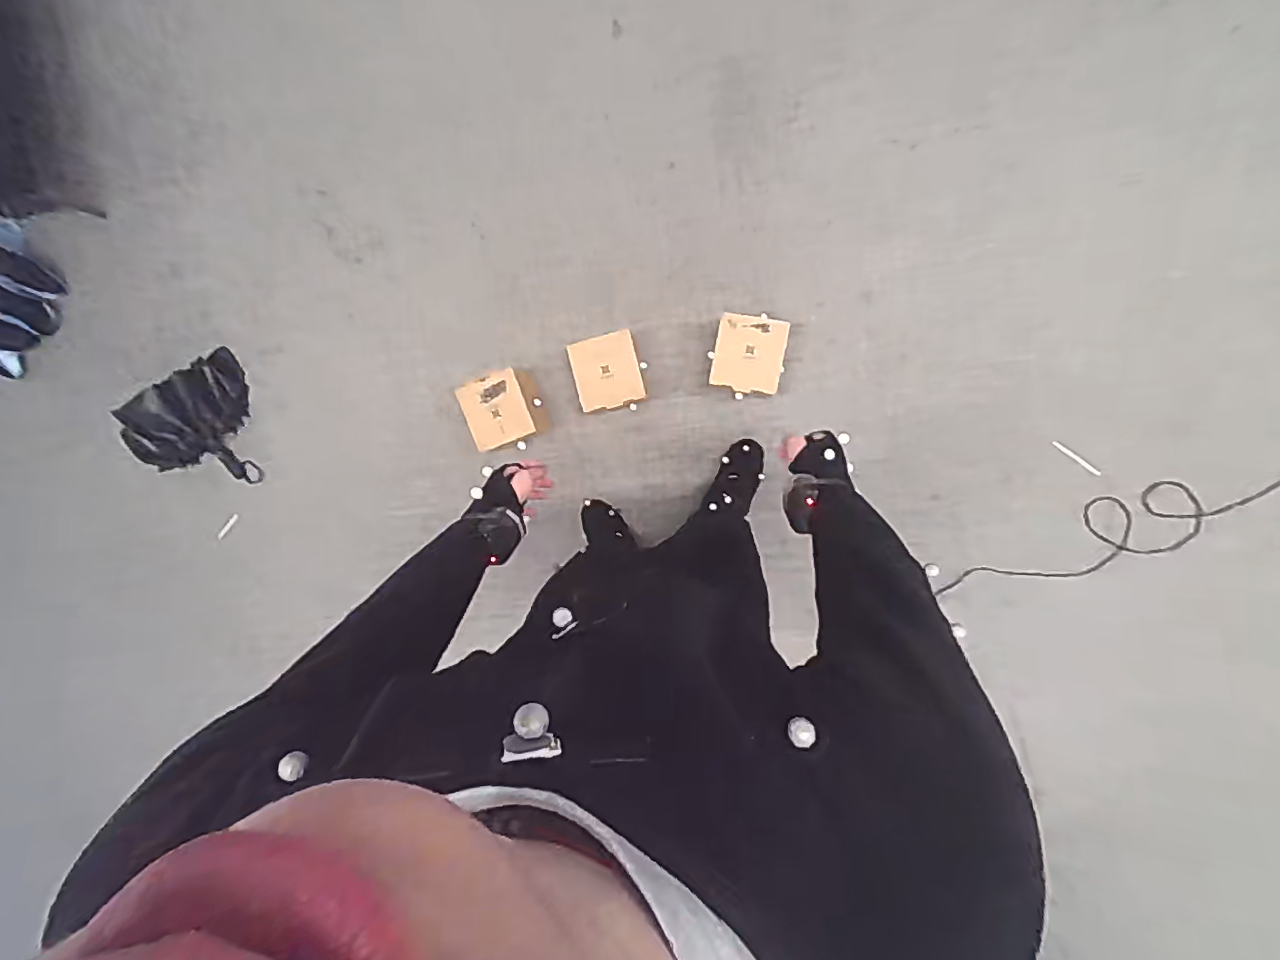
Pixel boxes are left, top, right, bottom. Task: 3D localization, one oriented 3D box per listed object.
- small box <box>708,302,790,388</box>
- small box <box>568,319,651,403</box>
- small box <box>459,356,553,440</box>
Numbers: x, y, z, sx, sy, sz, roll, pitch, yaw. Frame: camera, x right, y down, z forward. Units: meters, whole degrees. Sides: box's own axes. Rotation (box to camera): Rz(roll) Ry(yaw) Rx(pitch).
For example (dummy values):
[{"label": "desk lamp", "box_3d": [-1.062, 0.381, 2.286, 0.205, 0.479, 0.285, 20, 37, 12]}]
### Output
[{"label": "small box", "box_3d": [0.272, -0.334, 1.372, 0.168, 0.176, 0.179, 12, 98, 6]}, {"label": "small box", "box_3d": [-0.073, -0.304, 1.420, 0.168, 0.176, 0.179, -14, 93, 7]}, {"label": "small box", "box_3d": [-0.355, -0.215, 1.460, 0.168, 0.176, 0.179, -20, 94, 9]}]
